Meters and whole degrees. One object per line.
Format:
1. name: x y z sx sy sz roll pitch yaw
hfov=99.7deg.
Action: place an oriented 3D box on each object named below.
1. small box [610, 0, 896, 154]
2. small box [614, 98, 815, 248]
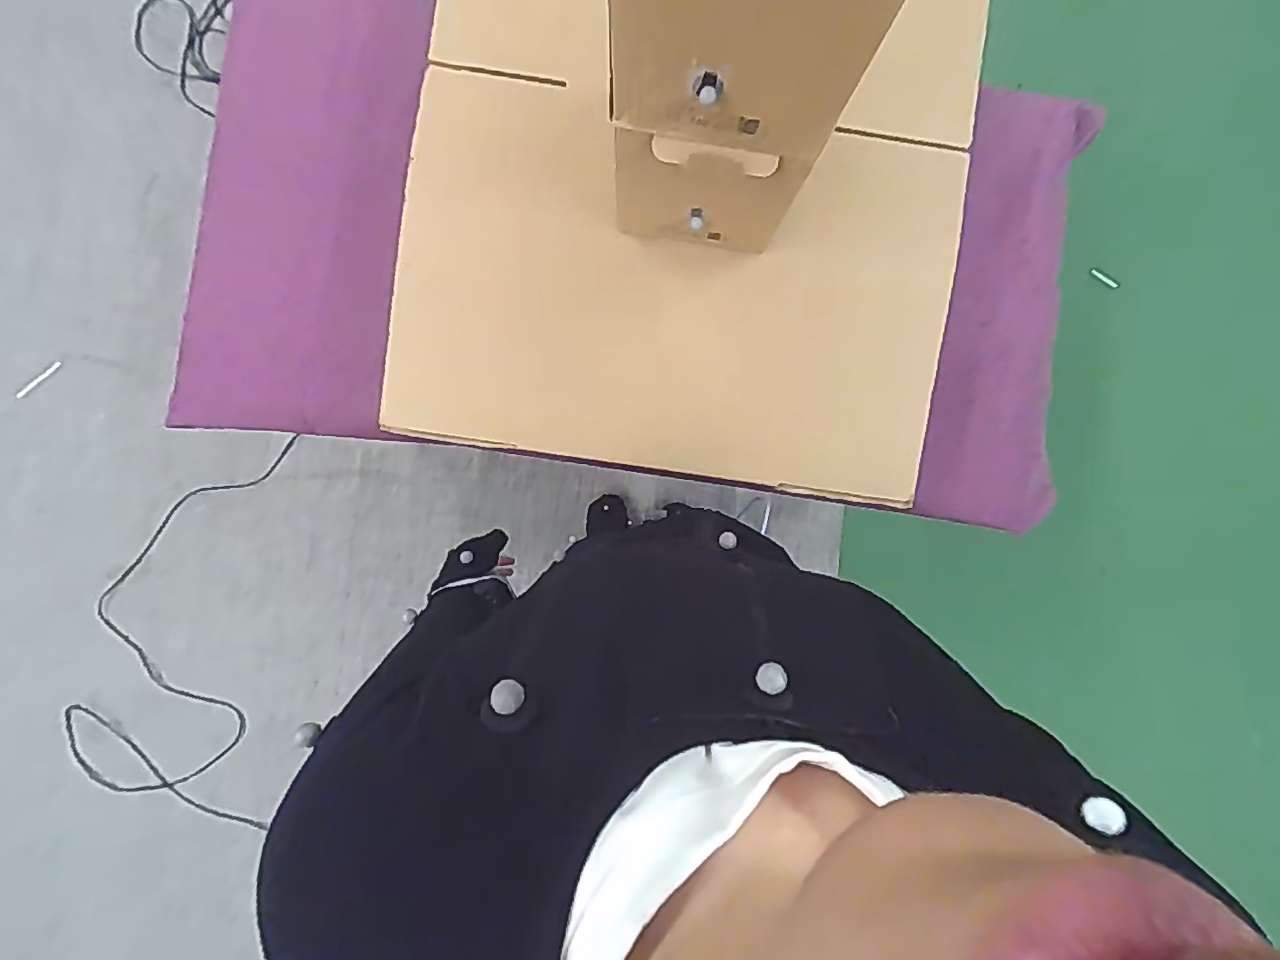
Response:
1. small box: 0.072 -0.359 0.351 0.168 0.176 0.179 8 88 -1
2. small box: 0.068 -0.353 0.514 0.168 0.176 0.179 8 88 -1
